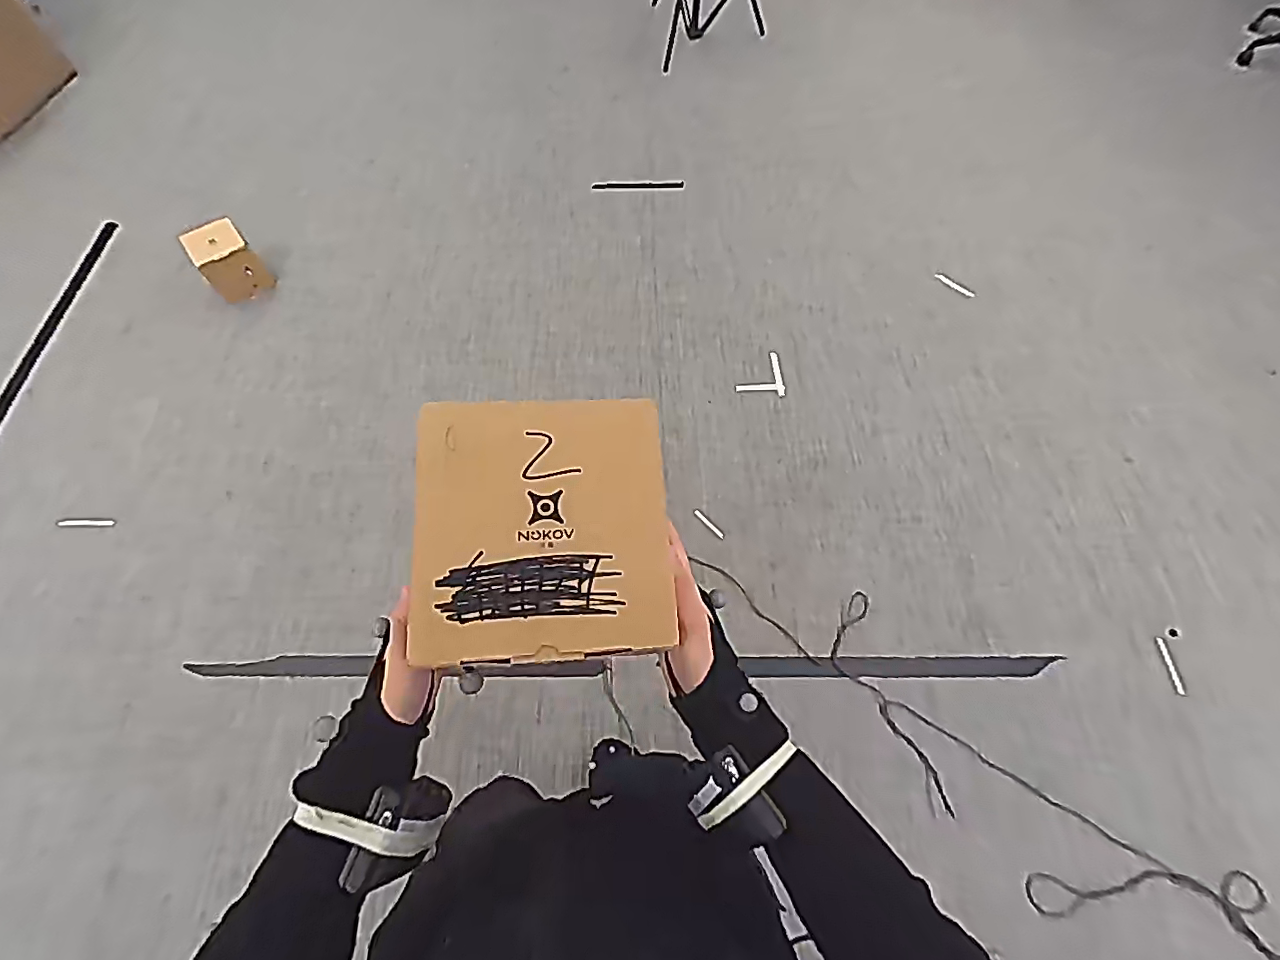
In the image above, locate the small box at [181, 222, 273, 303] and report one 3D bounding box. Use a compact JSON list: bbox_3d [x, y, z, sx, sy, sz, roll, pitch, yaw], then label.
[{"bbox_3d":[-1.409,-0.737,1.856,0.168,0.176,0.179,-35,68,-17],"label":"small box"}]
